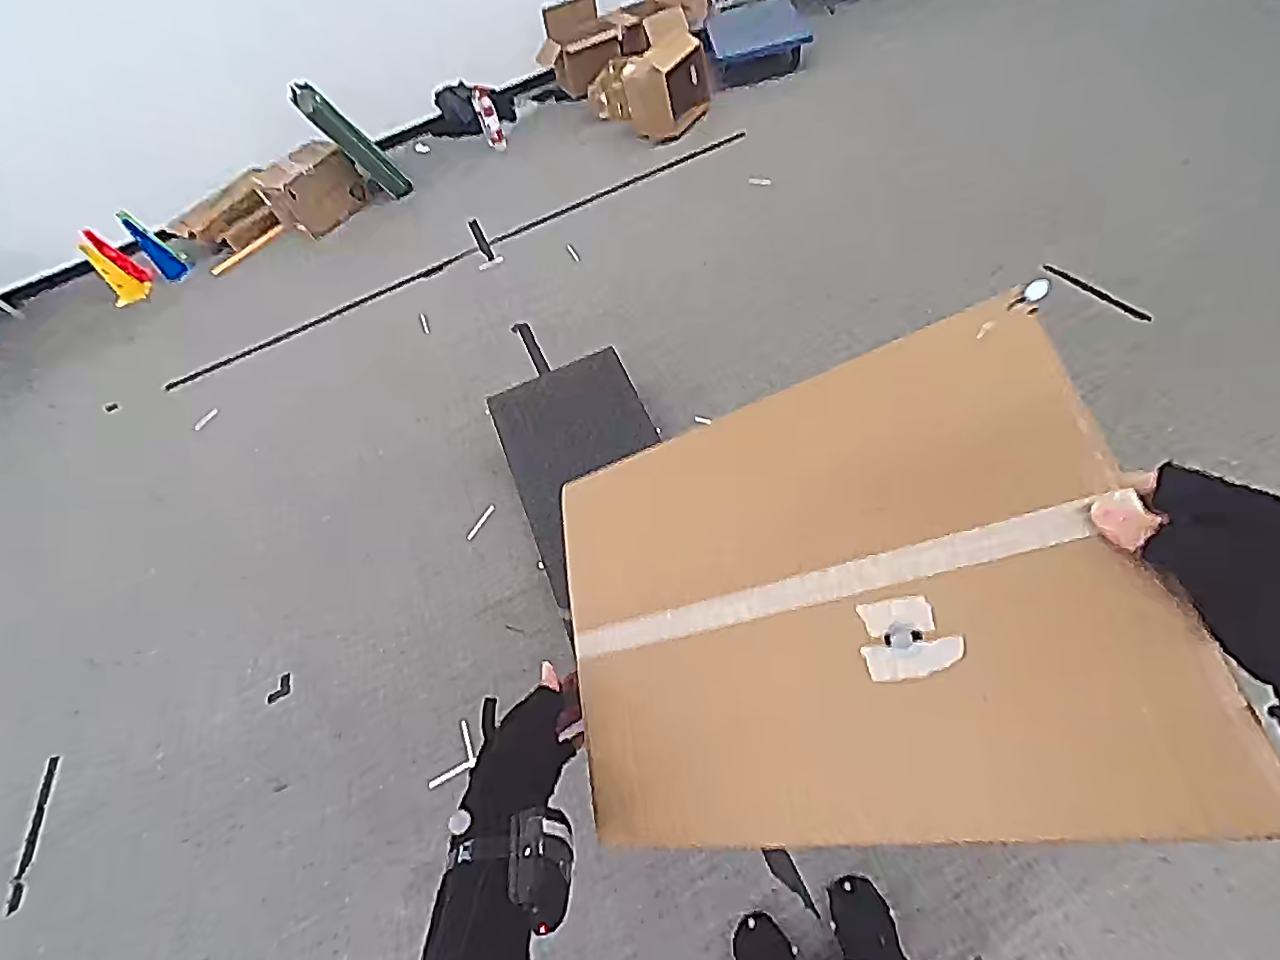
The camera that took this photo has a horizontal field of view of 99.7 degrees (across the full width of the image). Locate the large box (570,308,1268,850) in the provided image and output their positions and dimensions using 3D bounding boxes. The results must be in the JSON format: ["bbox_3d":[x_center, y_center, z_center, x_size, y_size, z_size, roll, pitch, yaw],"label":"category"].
[{"bbox_3d":[0.195,0.124,0.523,0.408,0.320,0.320,-23,64,27],"label":"large box"}]

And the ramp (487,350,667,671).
[{"bbox_3d":[-0.127,0.030,1.713,0.509,0.206,0.991,-25,53,-5],"label":"ramp"}]
